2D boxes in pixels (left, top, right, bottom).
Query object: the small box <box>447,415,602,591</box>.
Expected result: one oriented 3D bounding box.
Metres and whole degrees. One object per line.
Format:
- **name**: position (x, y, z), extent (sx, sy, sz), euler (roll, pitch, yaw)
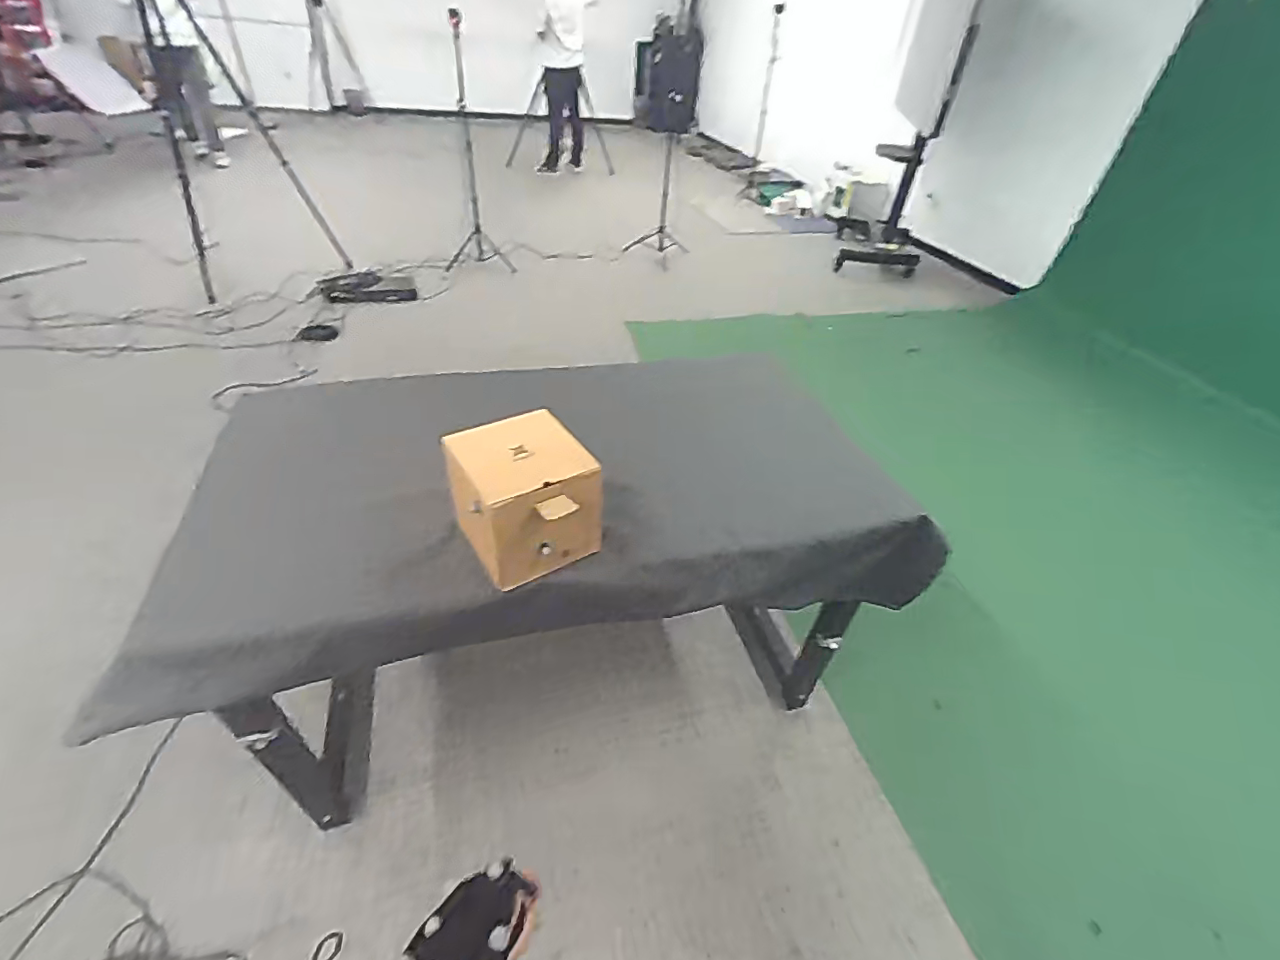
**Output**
- **small box**: position (-0.173, 0.031, 0.809), extent (0.168, 0.176, 0.179), euler (-21, 46, -29)
